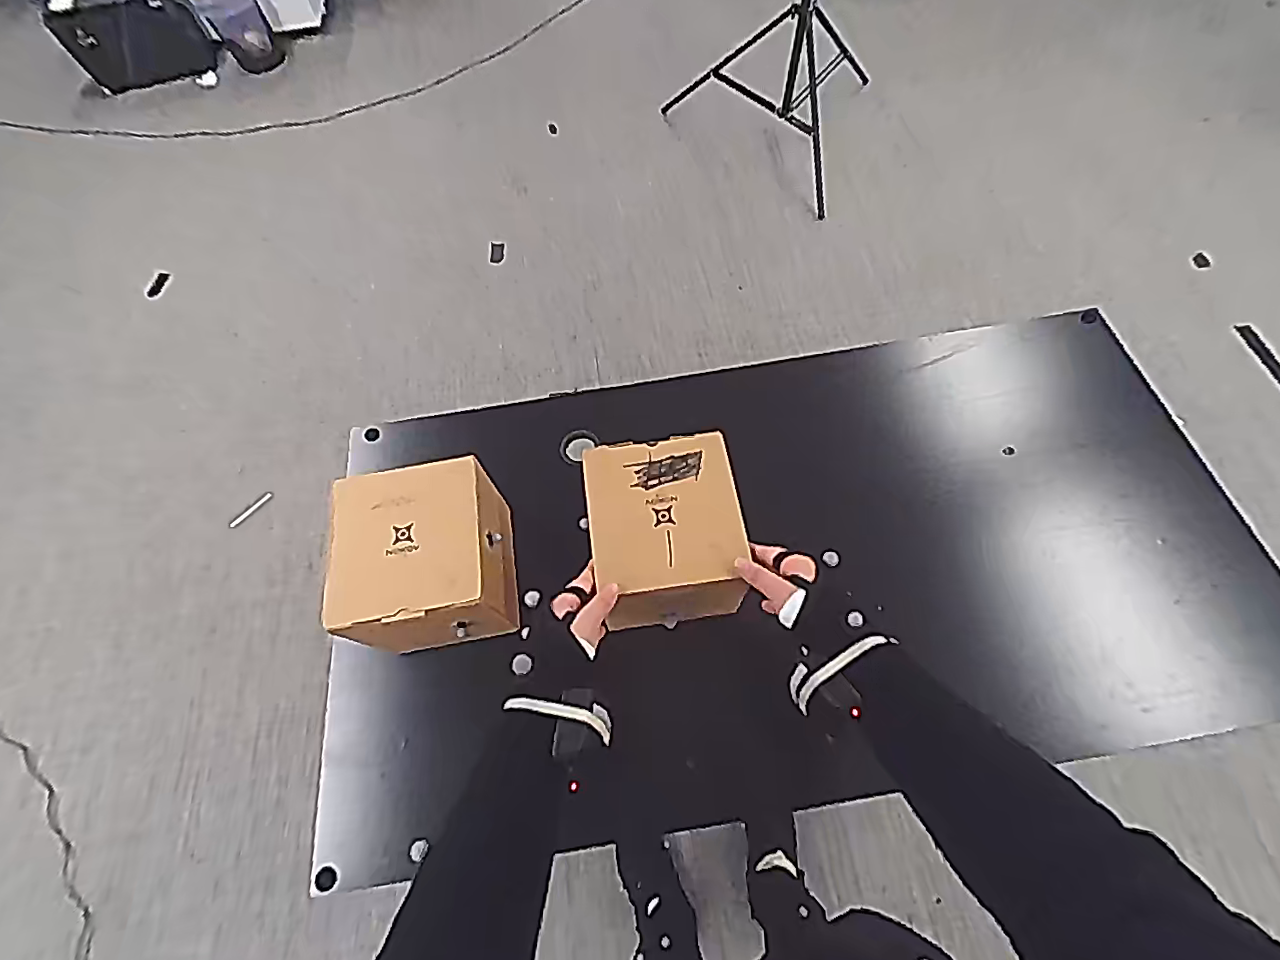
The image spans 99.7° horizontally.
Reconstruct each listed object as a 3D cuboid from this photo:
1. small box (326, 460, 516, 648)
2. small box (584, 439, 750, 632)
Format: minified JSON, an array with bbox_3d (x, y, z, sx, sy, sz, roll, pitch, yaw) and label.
[{"bbox_3d":[-0.256,0.101,0.668,0.168,0.176,0.179,-10,64,-3],"label":"small box"},{"bbox_3d":[0.025,0.072,0.660,0.168,0.176,0.179,-7,63,-2],"label":"small box"}]
